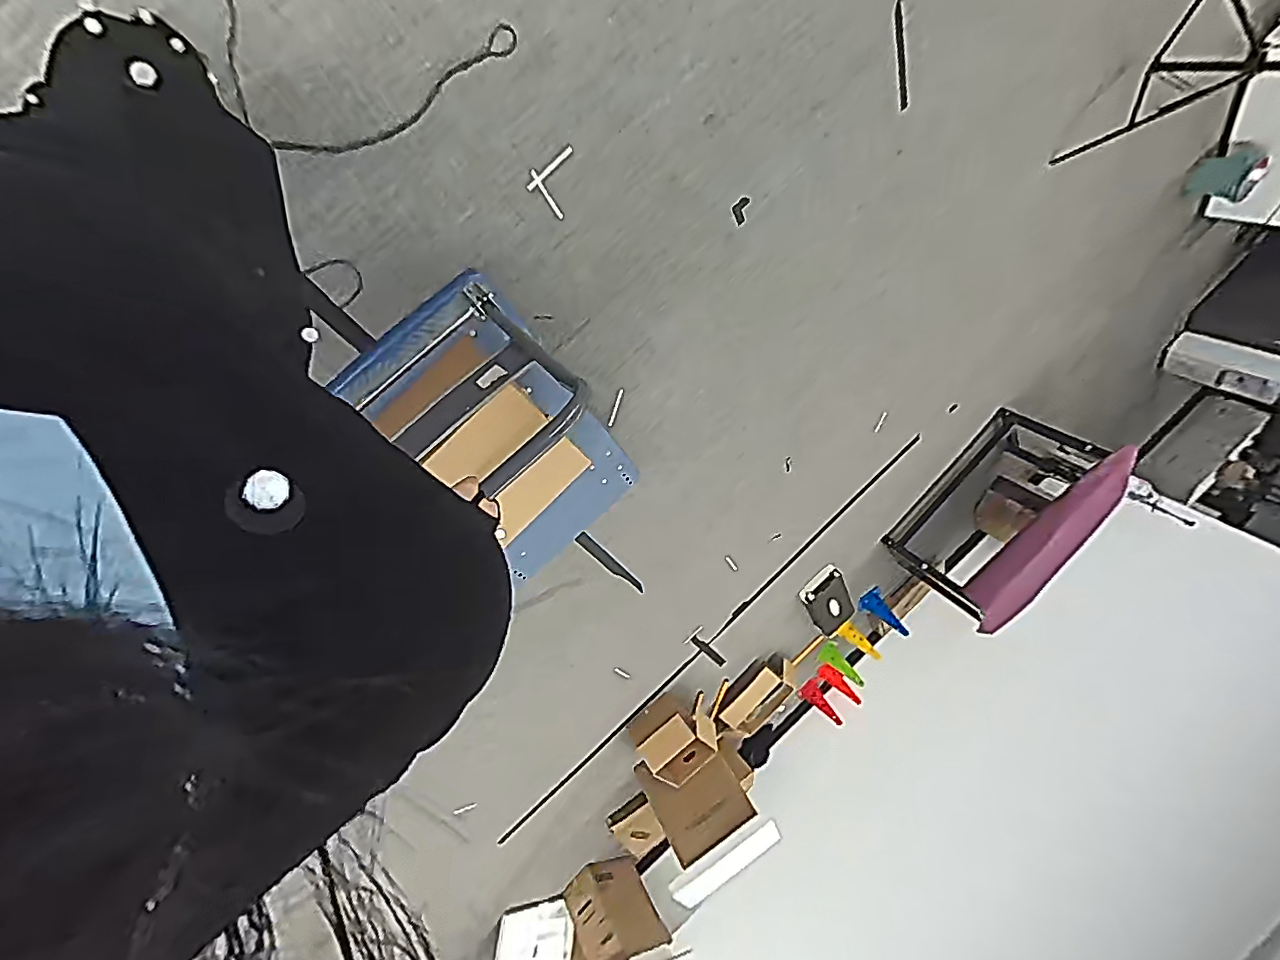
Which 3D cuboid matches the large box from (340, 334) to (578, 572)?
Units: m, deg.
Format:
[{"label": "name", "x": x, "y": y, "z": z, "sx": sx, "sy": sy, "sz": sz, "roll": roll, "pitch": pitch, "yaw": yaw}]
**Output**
[{"label": "large box", "x": -0.433, "y": -0.067, "z": 1.298, "sx": 0.408, "sy": 0.320, "sz": 0.320, "roll": -44, "pitch": 136, "yaw": -1}]
